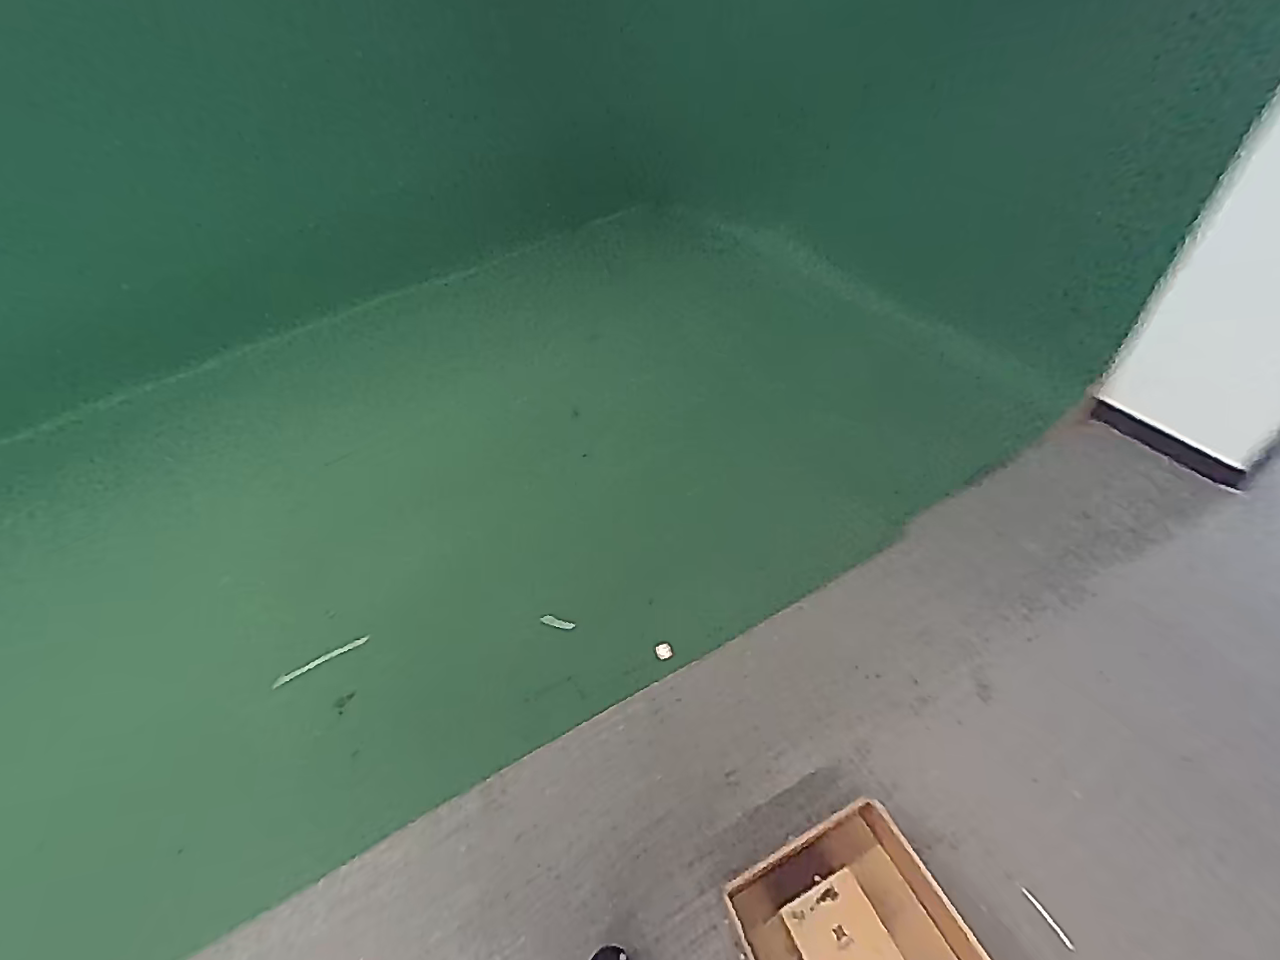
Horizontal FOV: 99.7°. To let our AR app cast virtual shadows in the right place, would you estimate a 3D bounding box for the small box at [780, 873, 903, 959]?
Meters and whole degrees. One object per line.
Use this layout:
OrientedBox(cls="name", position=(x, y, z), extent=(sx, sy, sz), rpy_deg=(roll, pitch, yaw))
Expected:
OrientedBox(cls="small box", position=(0.398, 0.926, 1.080), extent=(0.168, 0.176, 0.179), rpy_deg=(-23, 50, -10))
